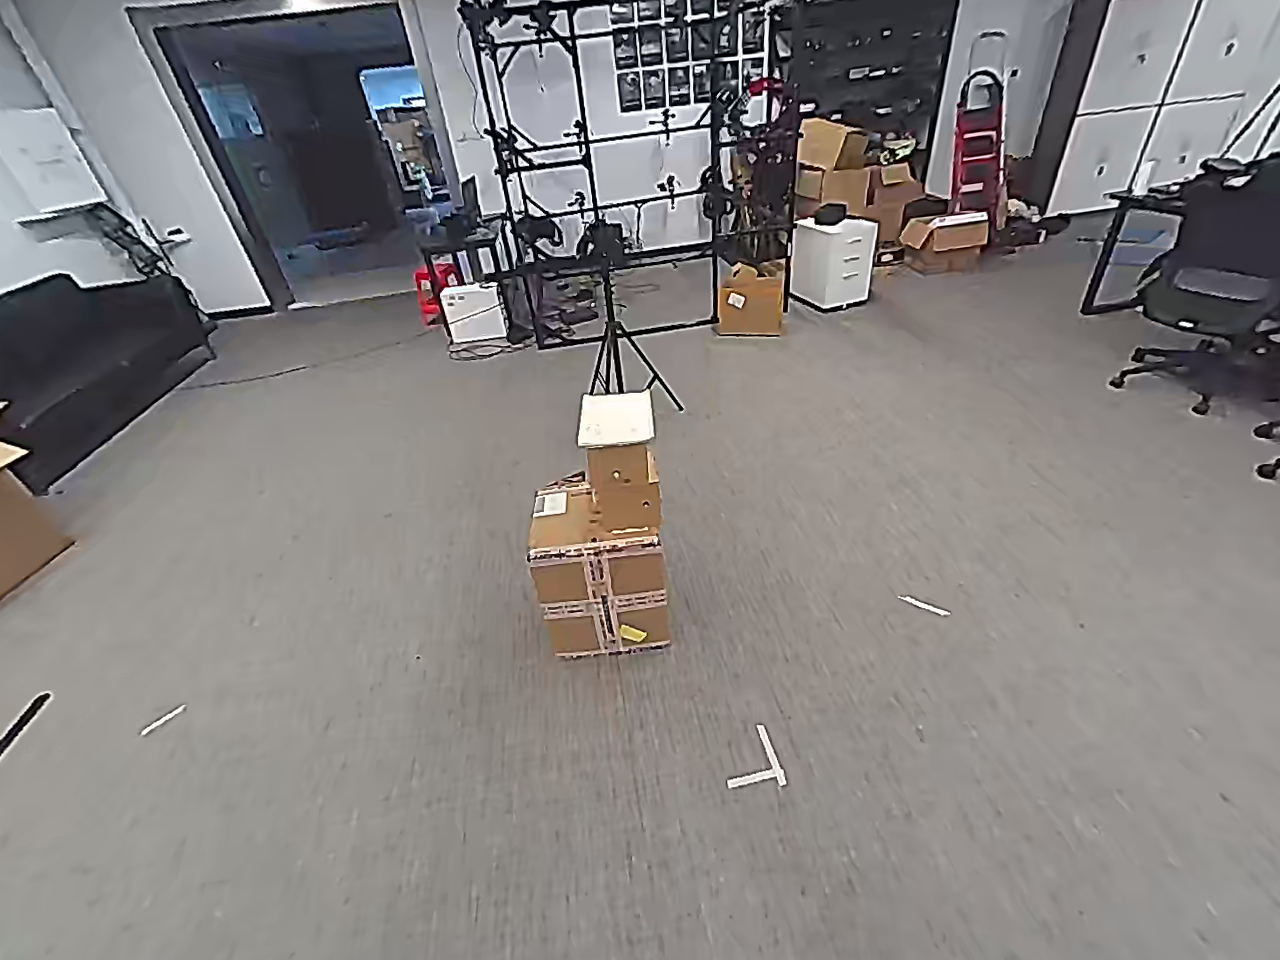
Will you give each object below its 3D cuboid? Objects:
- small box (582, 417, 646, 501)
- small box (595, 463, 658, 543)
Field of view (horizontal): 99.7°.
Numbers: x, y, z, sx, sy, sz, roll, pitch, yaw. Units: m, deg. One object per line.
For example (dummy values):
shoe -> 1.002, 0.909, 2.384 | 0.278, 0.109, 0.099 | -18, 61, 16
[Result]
small box -> -0.070, -0.061, 1.521 | 0.168, 0.176, 0.179 | -3, 37, 0
small box -> -0.041, 0.069, 1.621 | 0.179, 0.176, 0.168 | -6, 36, -2
